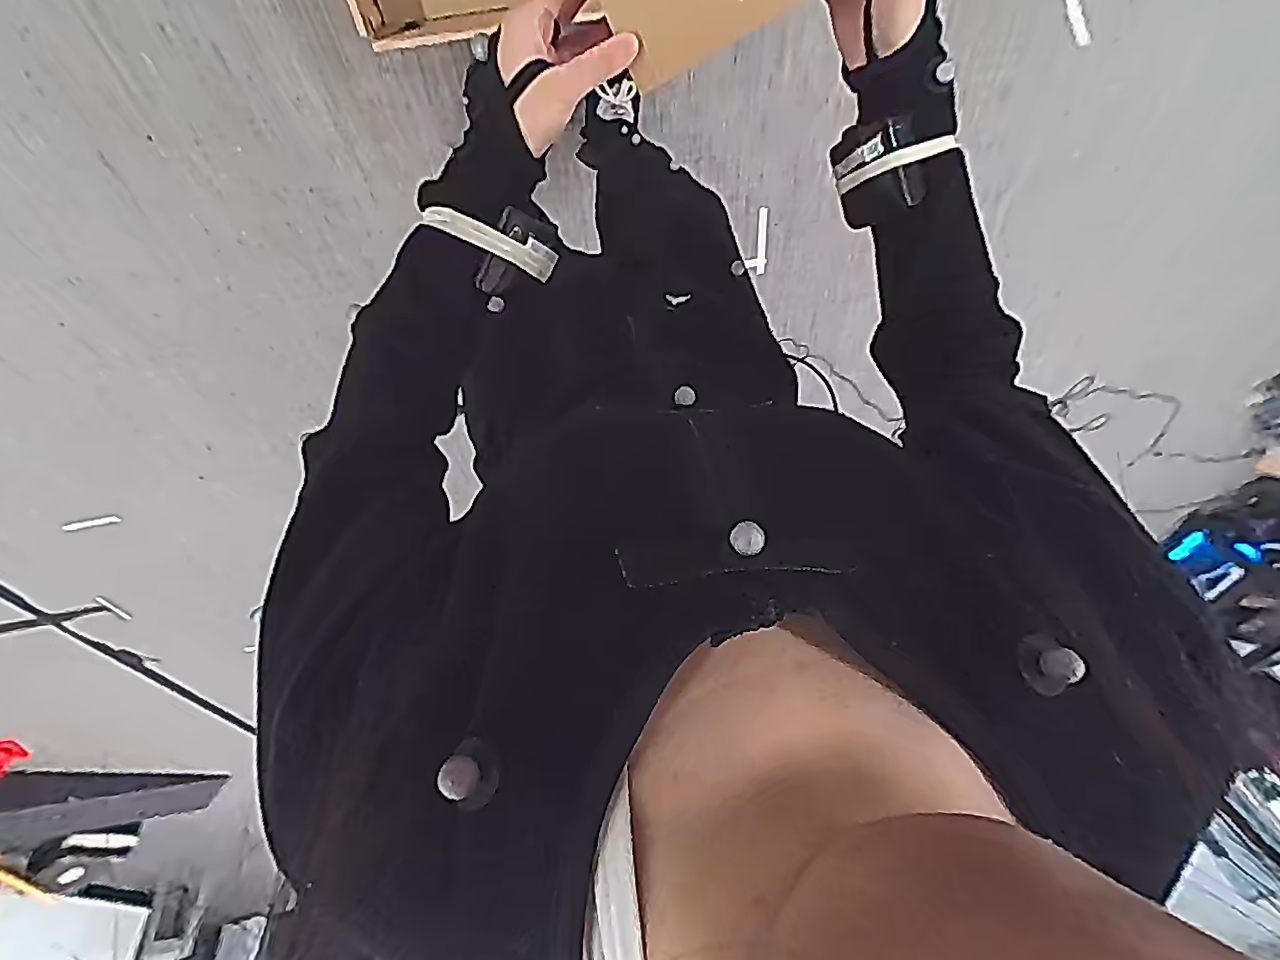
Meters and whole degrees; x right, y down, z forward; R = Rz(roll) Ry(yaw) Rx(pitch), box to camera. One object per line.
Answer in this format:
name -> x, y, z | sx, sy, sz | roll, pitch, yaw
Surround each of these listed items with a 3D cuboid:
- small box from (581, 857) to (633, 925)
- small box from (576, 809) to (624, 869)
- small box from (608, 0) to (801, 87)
small box -> -0.129, 1.598, 2.108 | 0.179, 0.176, 0.168 | -9, 135, -10
small box -> -0.165, 1.483, 2.220 | 0.179, 0.176, 0.168 | -9, 136, -8
small box -> 0.033, -0.397, 0.321 | 0.168, 0.176, 0.179 | -18, 146, 20
